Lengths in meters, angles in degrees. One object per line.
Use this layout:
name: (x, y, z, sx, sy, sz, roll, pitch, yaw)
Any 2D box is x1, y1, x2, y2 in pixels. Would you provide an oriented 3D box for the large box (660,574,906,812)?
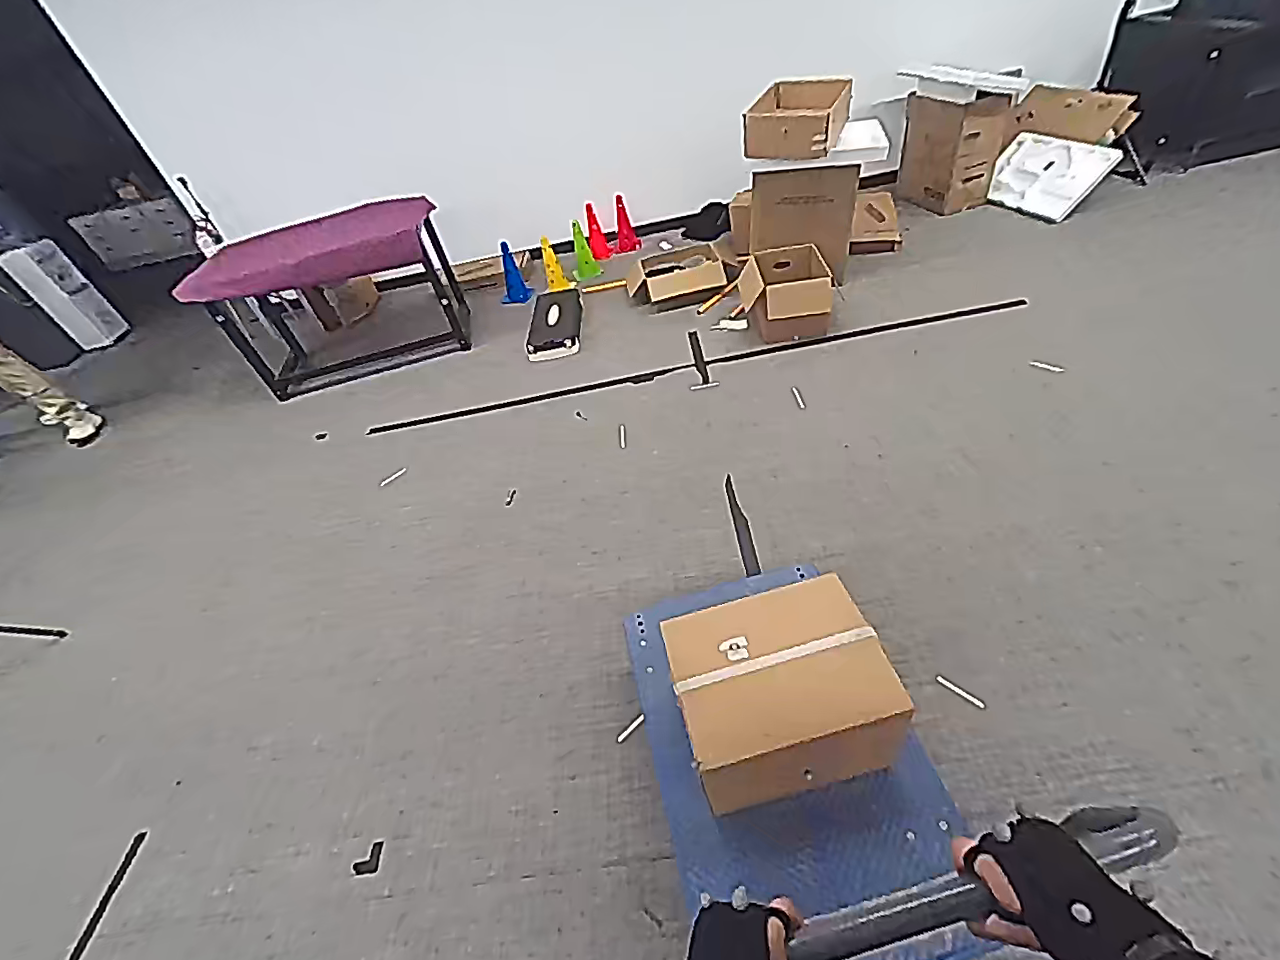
large box: (0.295, 0.468, 1.187, 0.408, 0.320, 0.320, -17, 43, -1)
